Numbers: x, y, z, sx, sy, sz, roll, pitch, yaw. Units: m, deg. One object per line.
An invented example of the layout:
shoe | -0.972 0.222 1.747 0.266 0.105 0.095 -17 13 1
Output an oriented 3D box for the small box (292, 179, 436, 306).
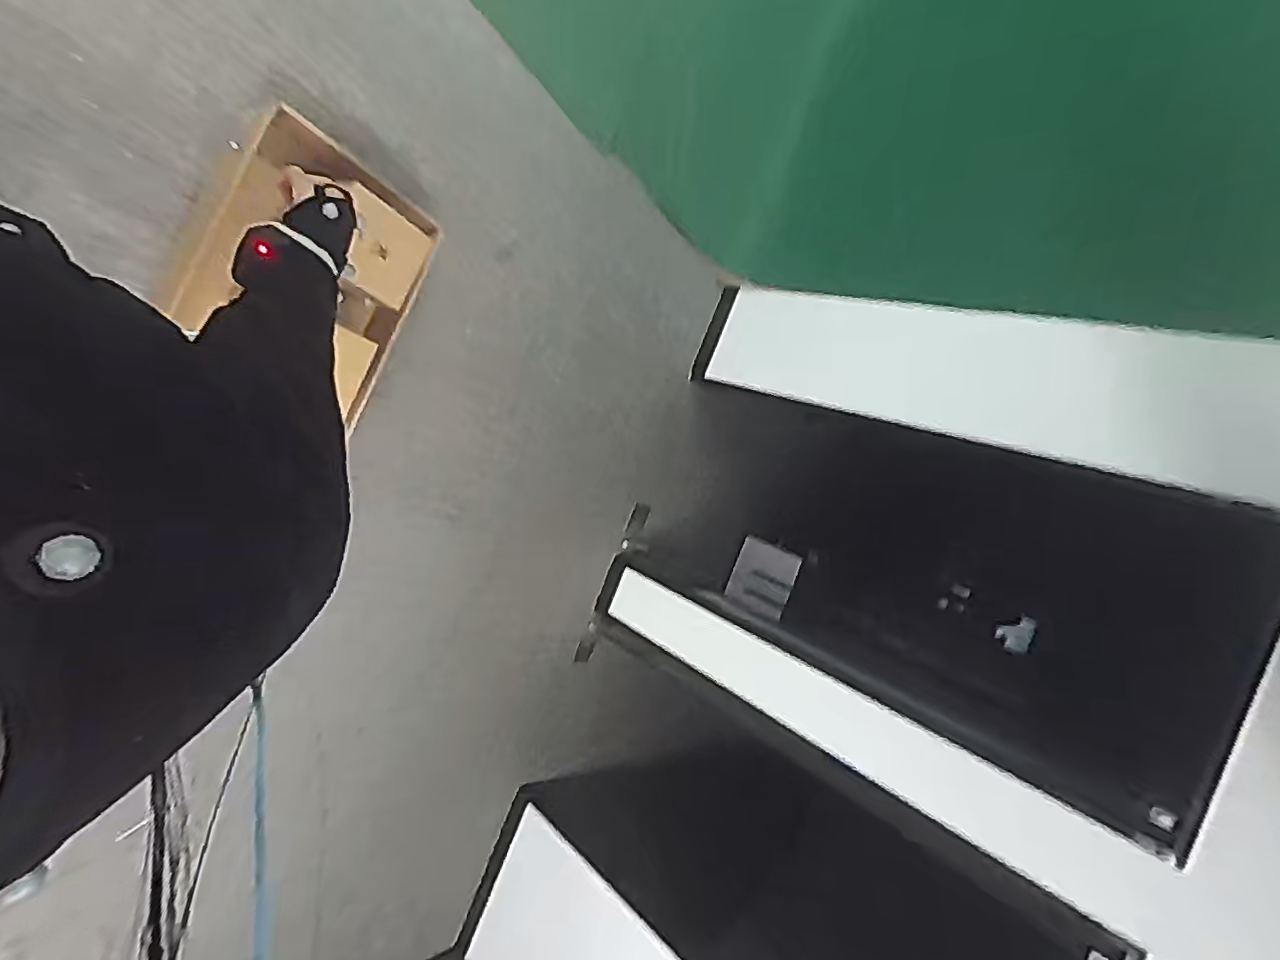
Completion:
small box | -0.561 -0.481 1.099 0.179 0.176 0.168 30 83 -52

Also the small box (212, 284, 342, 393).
small box | -0.793 -0.310 1.176 0.168 0.176 0.179 23 87 -51
